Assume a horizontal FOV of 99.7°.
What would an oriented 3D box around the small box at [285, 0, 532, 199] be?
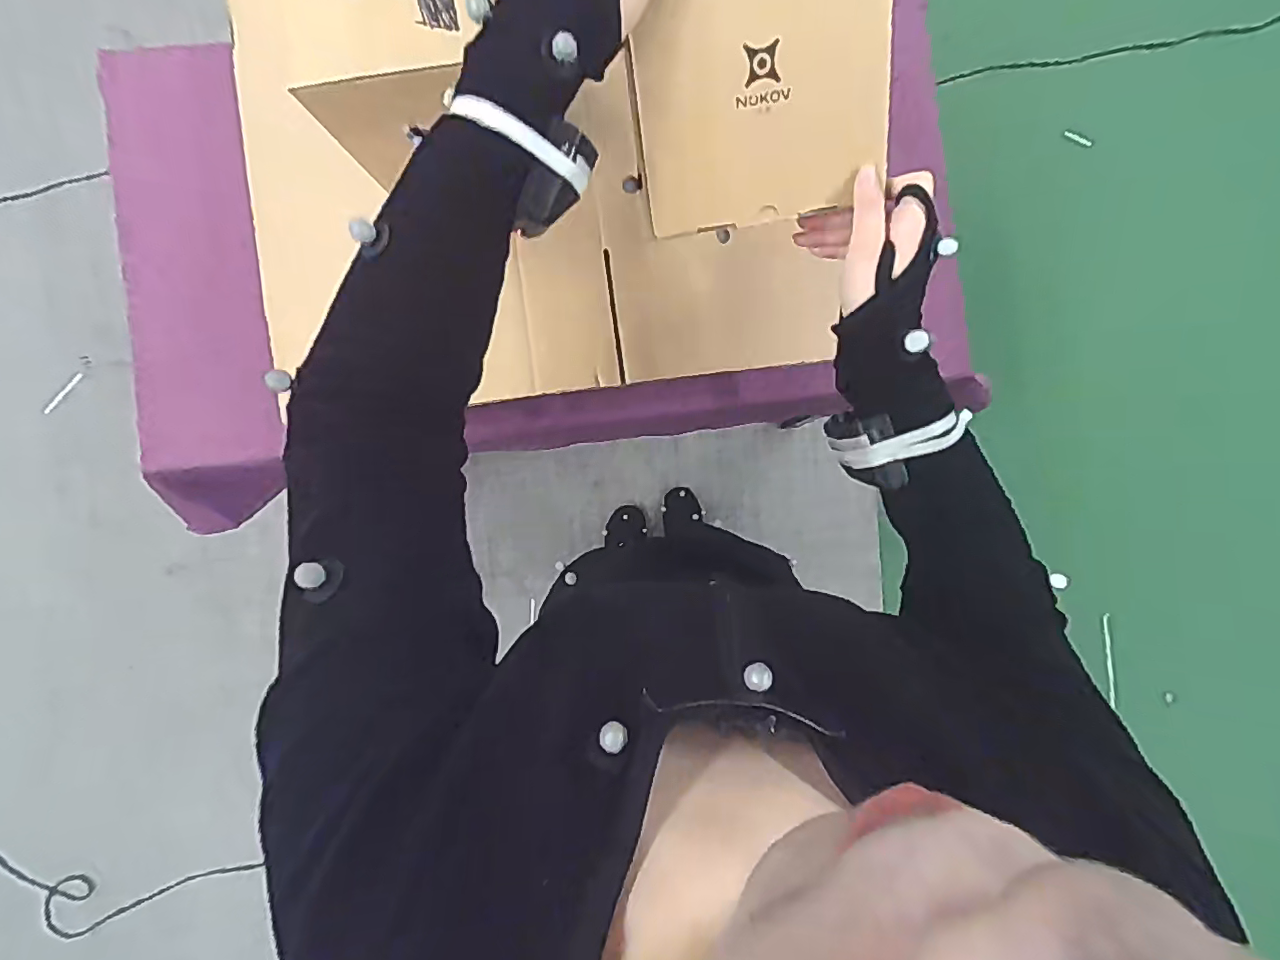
[{"bbox_3d":[-0.213,-0.410,0.540,0.179,0.176,0.168,-6,89,4],"label":"small box"}]
